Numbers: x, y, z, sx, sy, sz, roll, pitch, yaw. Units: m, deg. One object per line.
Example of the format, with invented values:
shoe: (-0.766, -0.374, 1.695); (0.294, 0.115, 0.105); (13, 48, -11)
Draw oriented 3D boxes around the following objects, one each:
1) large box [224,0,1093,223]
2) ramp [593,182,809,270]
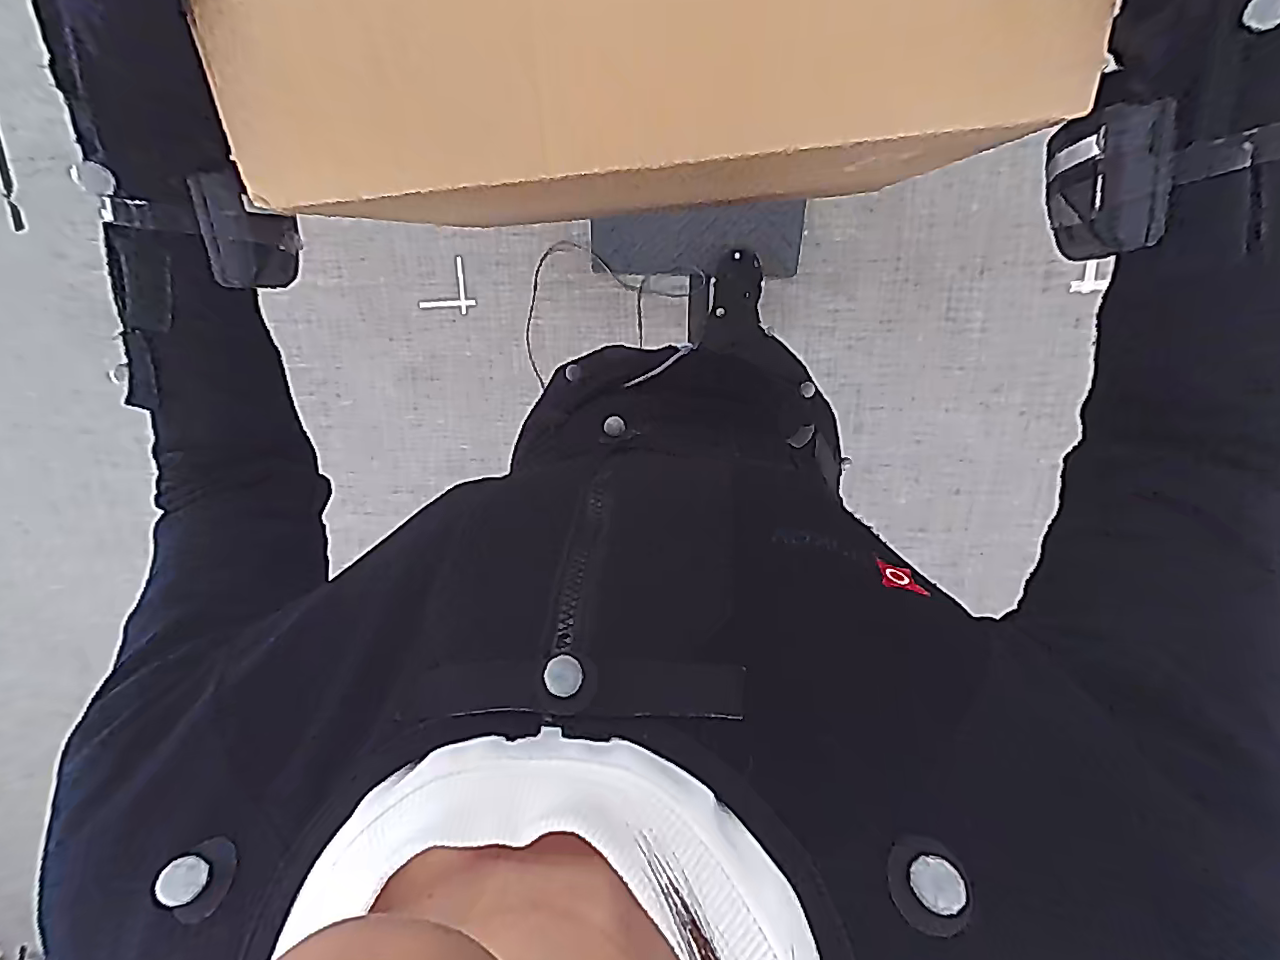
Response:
large box: (0.001, -0.364, 0.350); (0.408, 0.320, 0.320); (-3, 114, 7)
ramp: (0.136, -0.954, 1.075); (0.509, 0.206, 0.991); (2, 107, 6)
